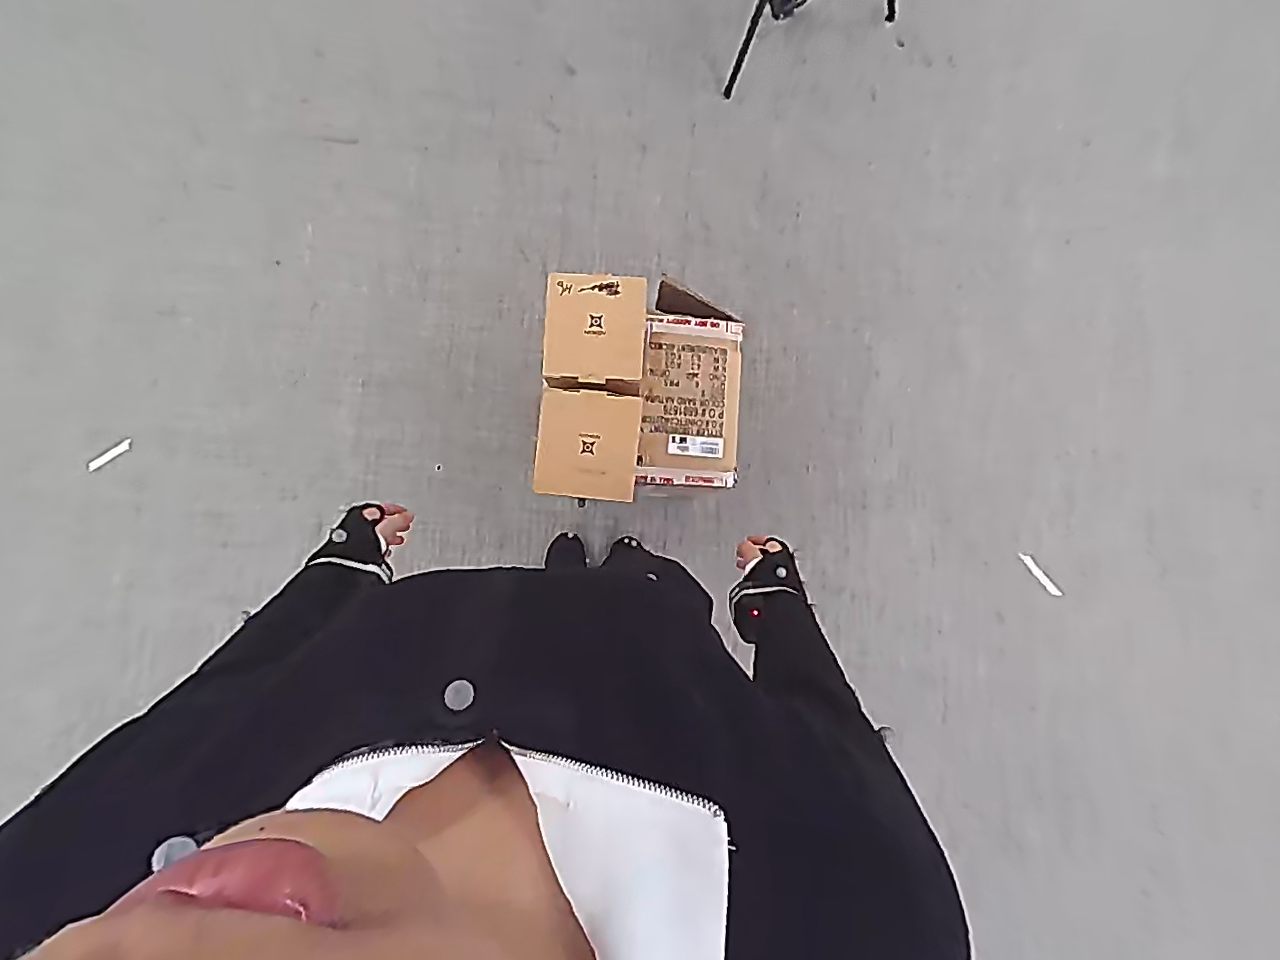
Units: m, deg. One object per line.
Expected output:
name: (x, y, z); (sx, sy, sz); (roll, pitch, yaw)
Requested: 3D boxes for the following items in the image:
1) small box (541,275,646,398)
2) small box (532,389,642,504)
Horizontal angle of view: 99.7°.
small box: (-0.077, -0.244, 0.965); (0.168, 0.176, 0.179); (3, 89, -1)
small box: (-0.088, -0.052, 0.957); (0.168, 0.176, 0.179); (5, 88, 0)
